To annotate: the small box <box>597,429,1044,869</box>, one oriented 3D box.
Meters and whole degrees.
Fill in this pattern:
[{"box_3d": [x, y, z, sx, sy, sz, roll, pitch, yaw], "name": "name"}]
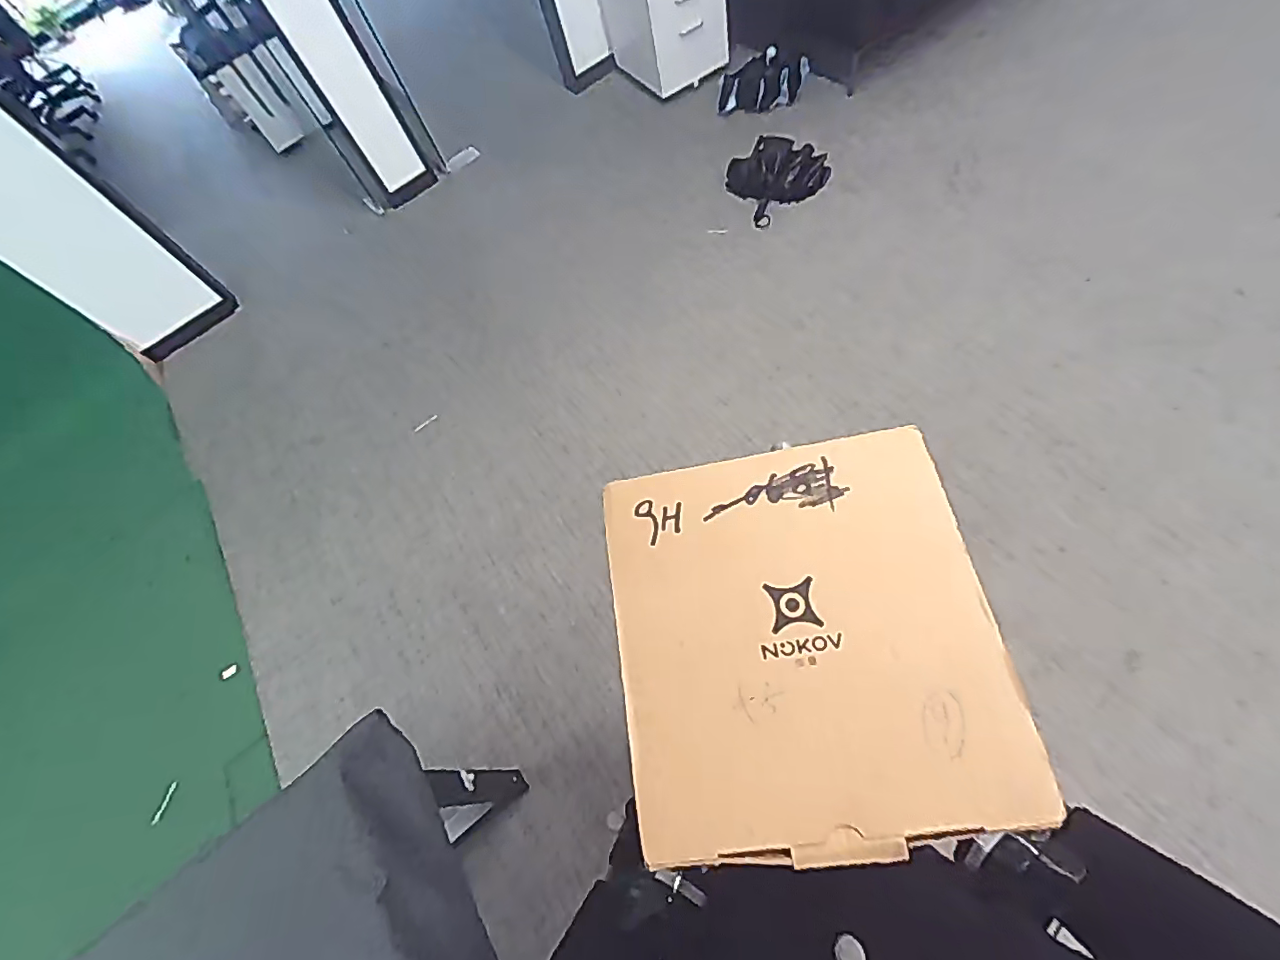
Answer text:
[{"box_3d": [0.081, 0.095, 0.319, 0.168, 0.176, 0.179, -11, 68, 7], "name": "small box"}]
